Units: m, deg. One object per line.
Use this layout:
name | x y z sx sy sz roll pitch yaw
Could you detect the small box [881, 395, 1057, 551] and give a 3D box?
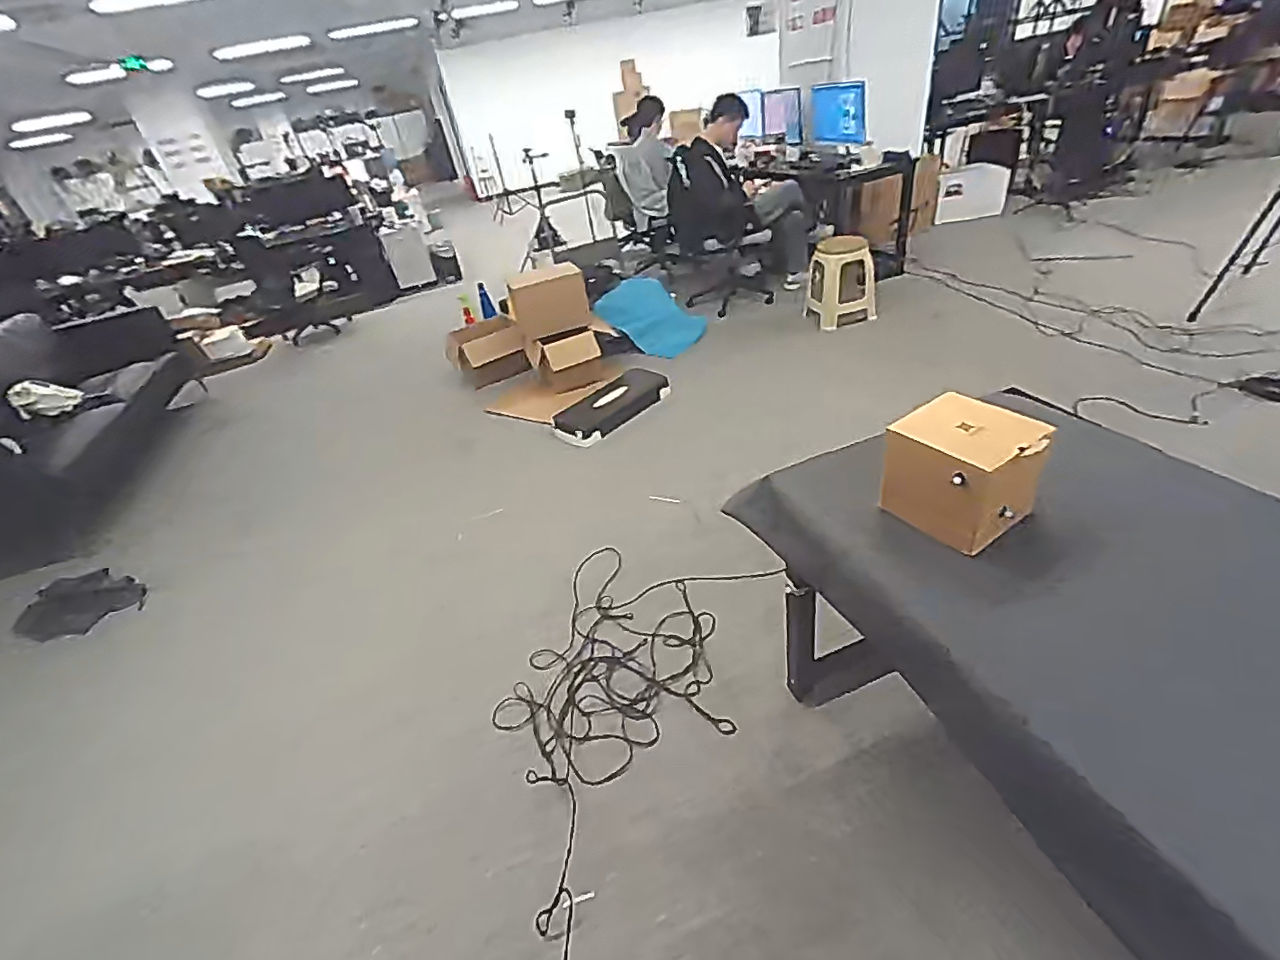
small box | 0.523 -0.014 0.887 0.168 0.176 0.179 -27 38 -21
